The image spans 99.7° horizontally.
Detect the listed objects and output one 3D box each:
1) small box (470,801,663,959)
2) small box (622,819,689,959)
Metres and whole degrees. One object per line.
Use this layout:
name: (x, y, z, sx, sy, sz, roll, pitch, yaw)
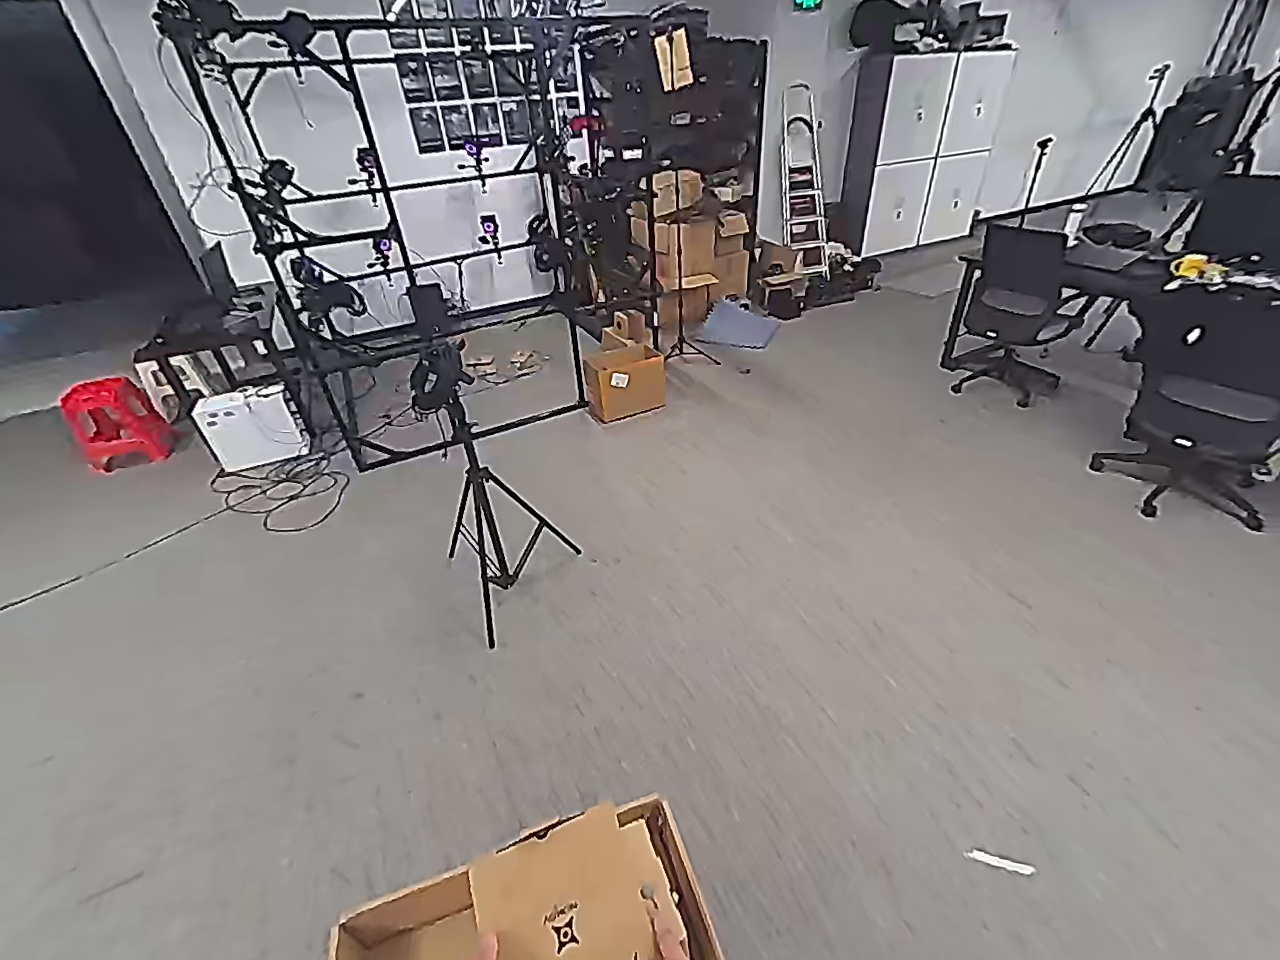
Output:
small box: (-0.075, 0.497, 0.599, 0.168, 0.176, 0.179, -18, 51, -13)
small box: (-0.036, 0.663, 0.811, 0.179, 0.176, 0.168, -16, 36, -15)
